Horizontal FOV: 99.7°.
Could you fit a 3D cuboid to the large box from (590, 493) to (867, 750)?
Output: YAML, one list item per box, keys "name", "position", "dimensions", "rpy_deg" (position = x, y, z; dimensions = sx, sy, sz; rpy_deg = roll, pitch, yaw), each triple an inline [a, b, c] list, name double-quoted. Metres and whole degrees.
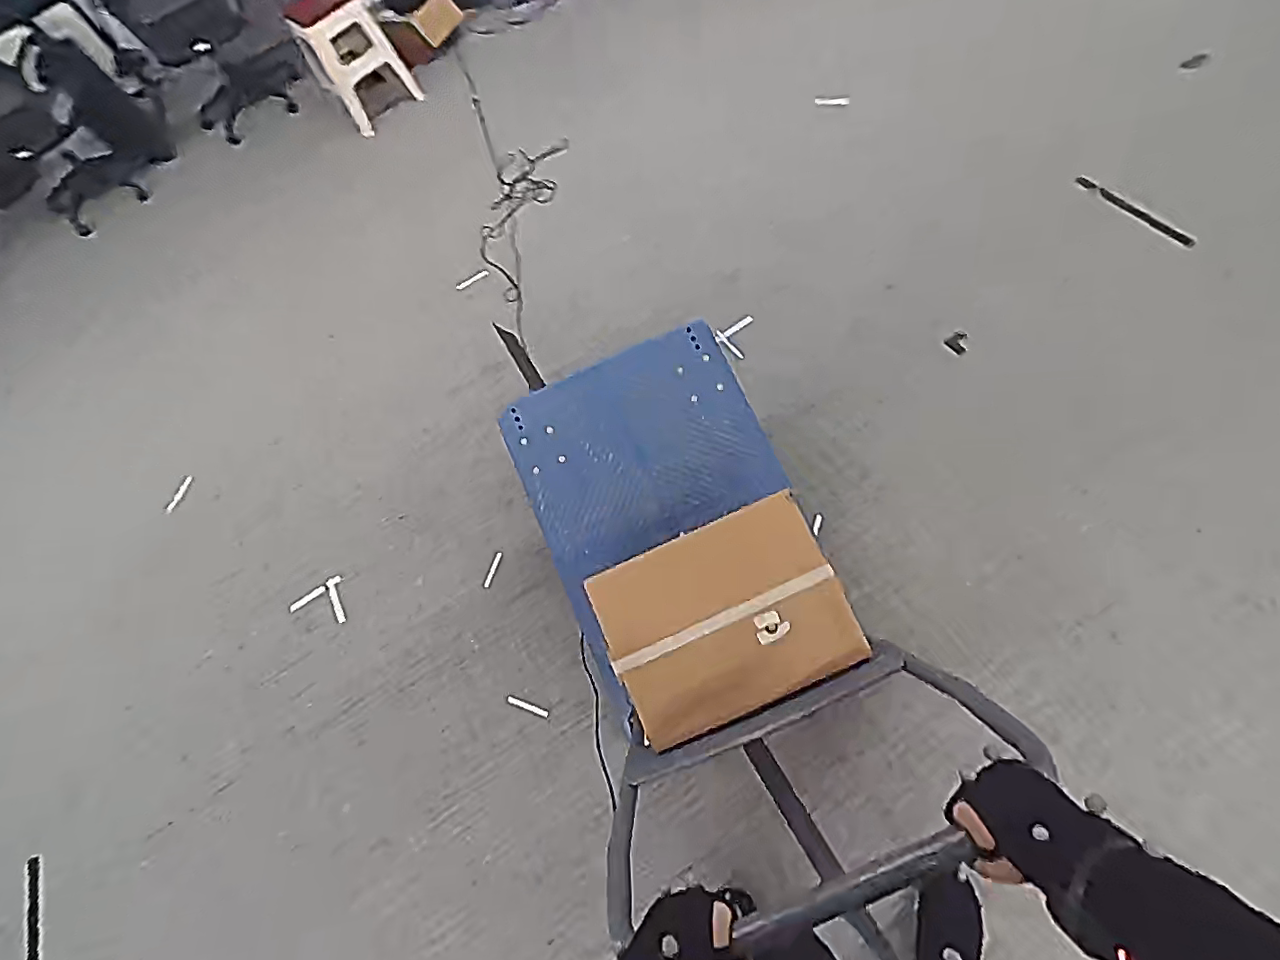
- name: "large box"
  position: [0.159, 0.269, 1.093]
  dimensions: [0.408, 0.320, 0.320]
  rpy_deg: [-25, 80, -1]
